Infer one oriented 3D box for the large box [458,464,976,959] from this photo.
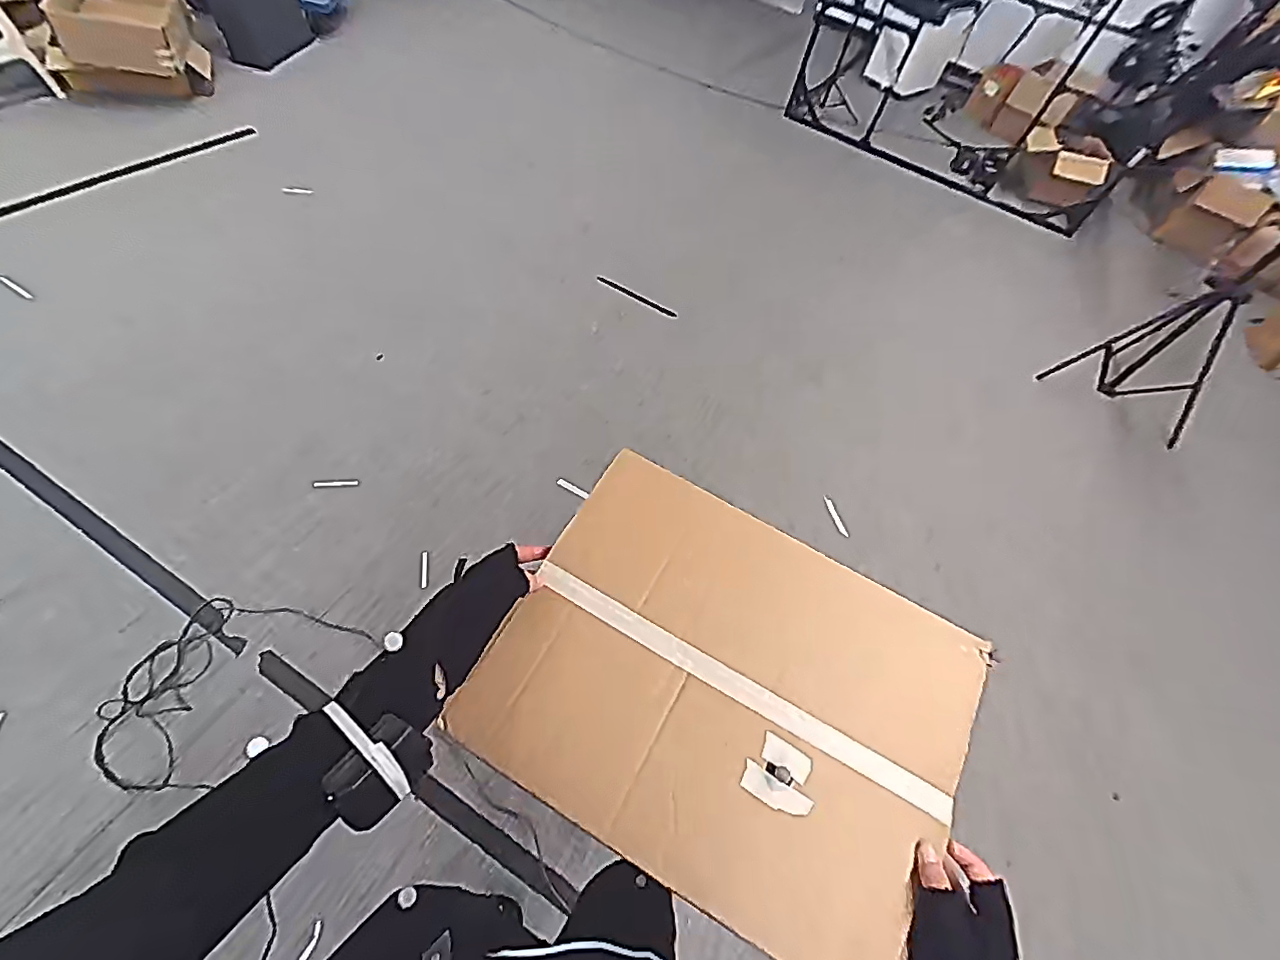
[{"bbox_3d":[0.072,0.253,0.627,0.408,0.320,0.320,29,65,9],"label":"large box"}]
